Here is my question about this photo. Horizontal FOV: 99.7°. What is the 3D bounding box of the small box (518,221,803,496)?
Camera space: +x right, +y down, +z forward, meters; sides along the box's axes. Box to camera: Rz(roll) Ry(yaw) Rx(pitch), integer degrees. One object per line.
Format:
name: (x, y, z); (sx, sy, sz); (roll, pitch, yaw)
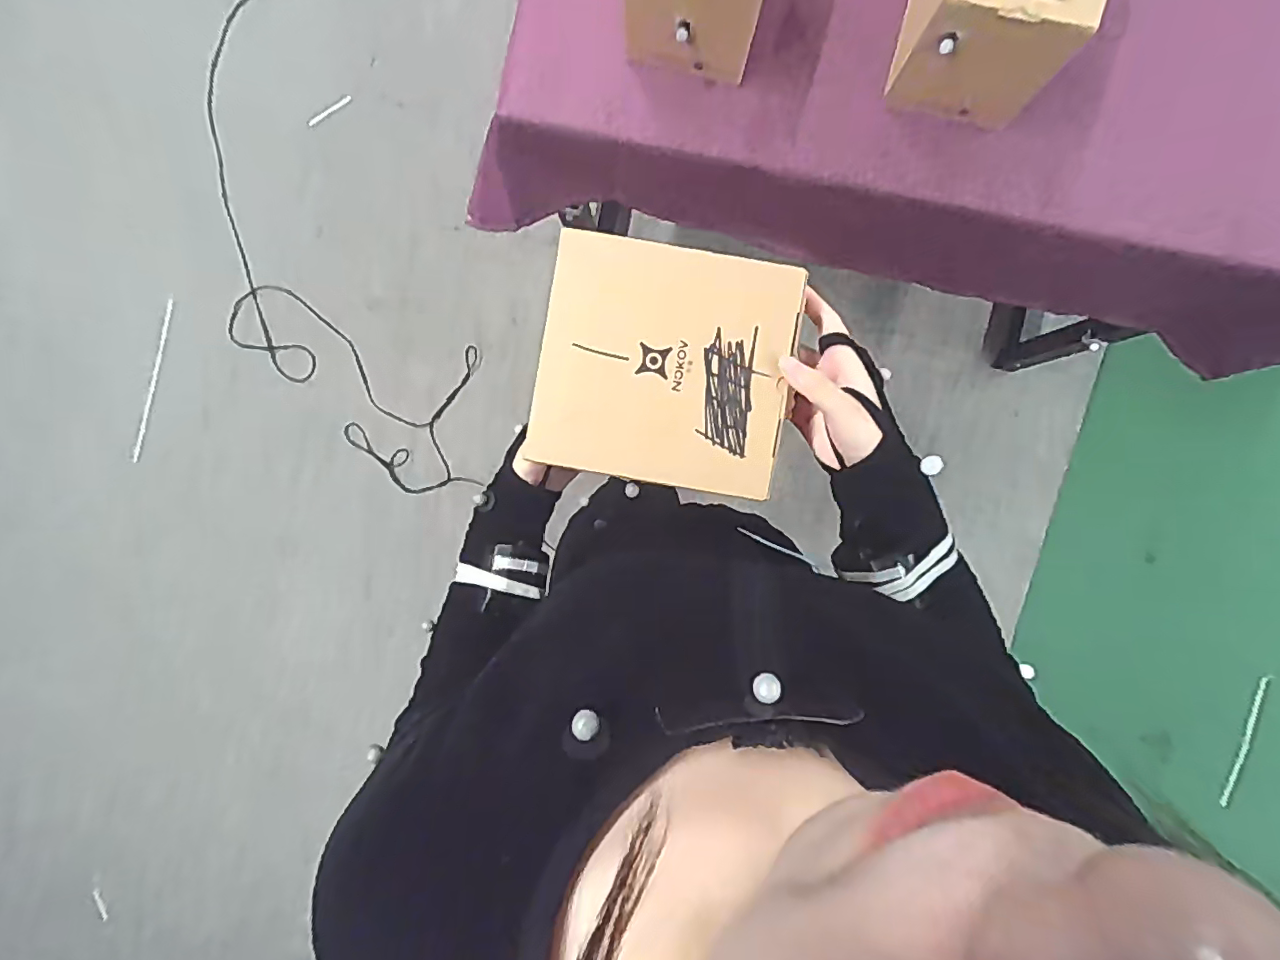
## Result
small box: (0.013, -0.086, 0.456); (0.179, 0.176, 0.168); (11, 91, -1)

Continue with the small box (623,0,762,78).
small box: (0.078, -0.646, 0.663); (0.168, 0.176, 0.179); (16, 93, 1)
